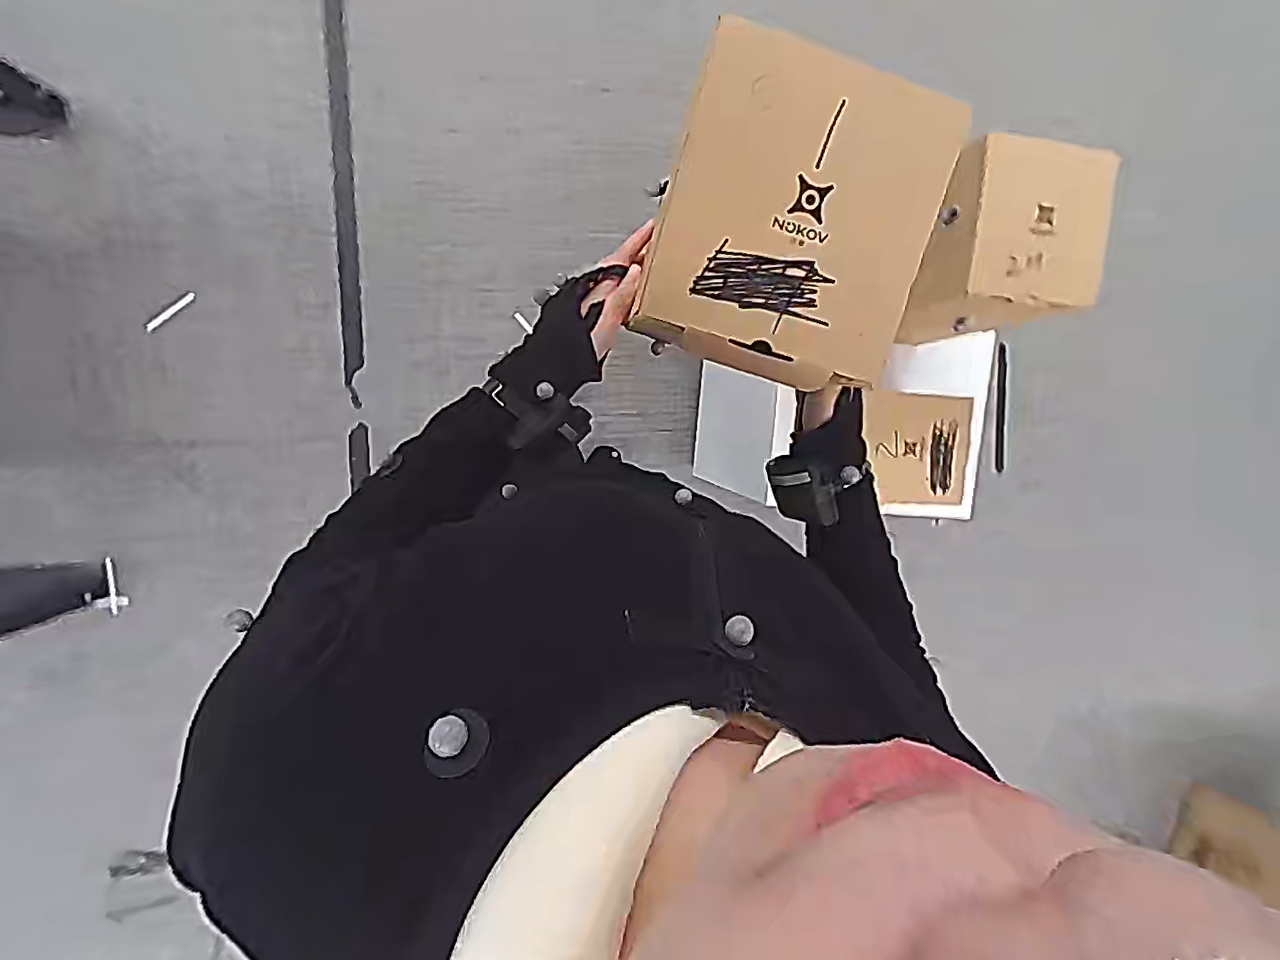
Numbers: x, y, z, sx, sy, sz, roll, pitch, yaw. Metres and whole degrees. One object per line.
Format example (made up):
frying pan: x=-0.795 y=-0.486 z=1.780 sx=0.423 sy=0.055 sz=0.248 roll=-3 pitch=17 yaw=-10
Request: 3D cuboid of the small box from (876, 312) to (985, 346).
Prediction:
small box: x=0.420 y=-0.311 z=0.850 sx=0.179 sy=0.176 sz=0.168 roll=5 pitch=95 yaw=-9

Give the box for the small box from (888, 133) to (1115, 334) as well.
small box: x=0.439 y=-0.295 z=0.687 sx=0.168 sy=0.176 sz=0.179 roll=5 pitch=96 yaw=-8

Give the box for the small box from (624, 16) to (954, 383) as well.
small box: x=0.086 y=-0.181 z=0.411 sx=0.168 sy=0.176 sz=0.179 roll=14 pitch=100 yaw=-7
